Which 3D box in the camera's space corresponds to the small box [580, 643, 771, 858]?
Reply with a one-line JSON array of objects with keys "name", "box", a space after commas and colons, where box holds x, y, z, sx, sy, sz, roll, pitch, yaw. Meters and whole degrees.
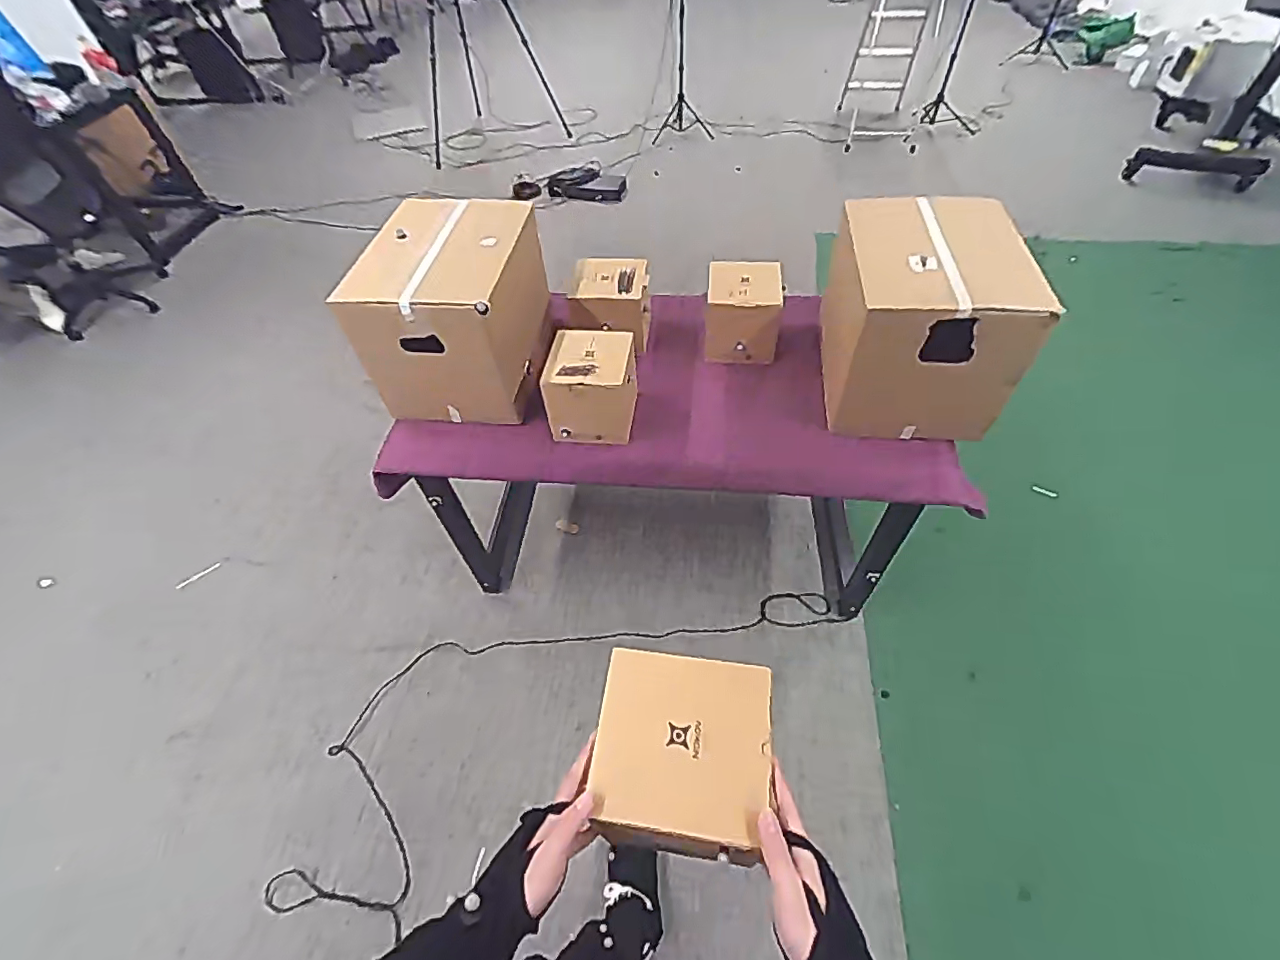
[{"name": "small box", "box": [0.046, 0.300, 0.597, 0.179, 0.176, 0.168, 5, 50, 8]}]

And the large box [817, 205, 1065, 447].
[{"name": "large box", "box": [0.572, -0.323, 1.130, 0.320, 0.320, 0.408, 4, 52, 8]}]

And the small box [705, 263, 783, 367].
[{"name": "small box", "box": [0.244, -0.394, 1.290, 0.168, 0.176, 0.179, 4, 52, 7]}]
